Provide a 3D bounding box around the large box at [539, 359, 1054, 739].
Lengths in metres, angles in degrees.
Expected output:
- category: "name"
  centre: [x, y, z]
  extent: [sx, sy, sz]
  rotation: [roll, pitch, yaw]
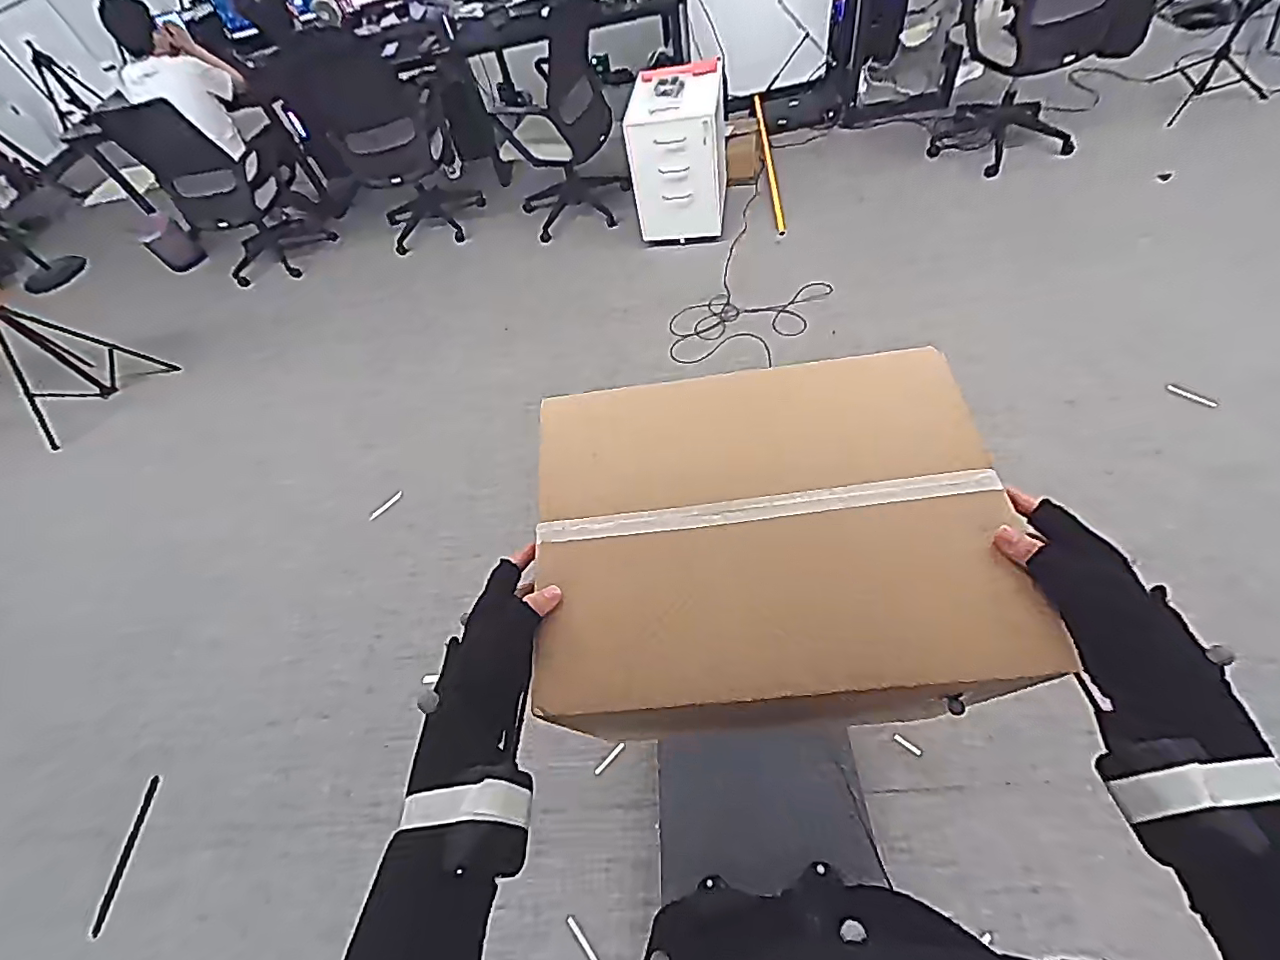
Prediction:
- category: "large box"
  centre: [0.124, 0.104, 0.617]
  extent: [0.408, 0.320, 0.320]
  rotation: [-7, 60, 4]
